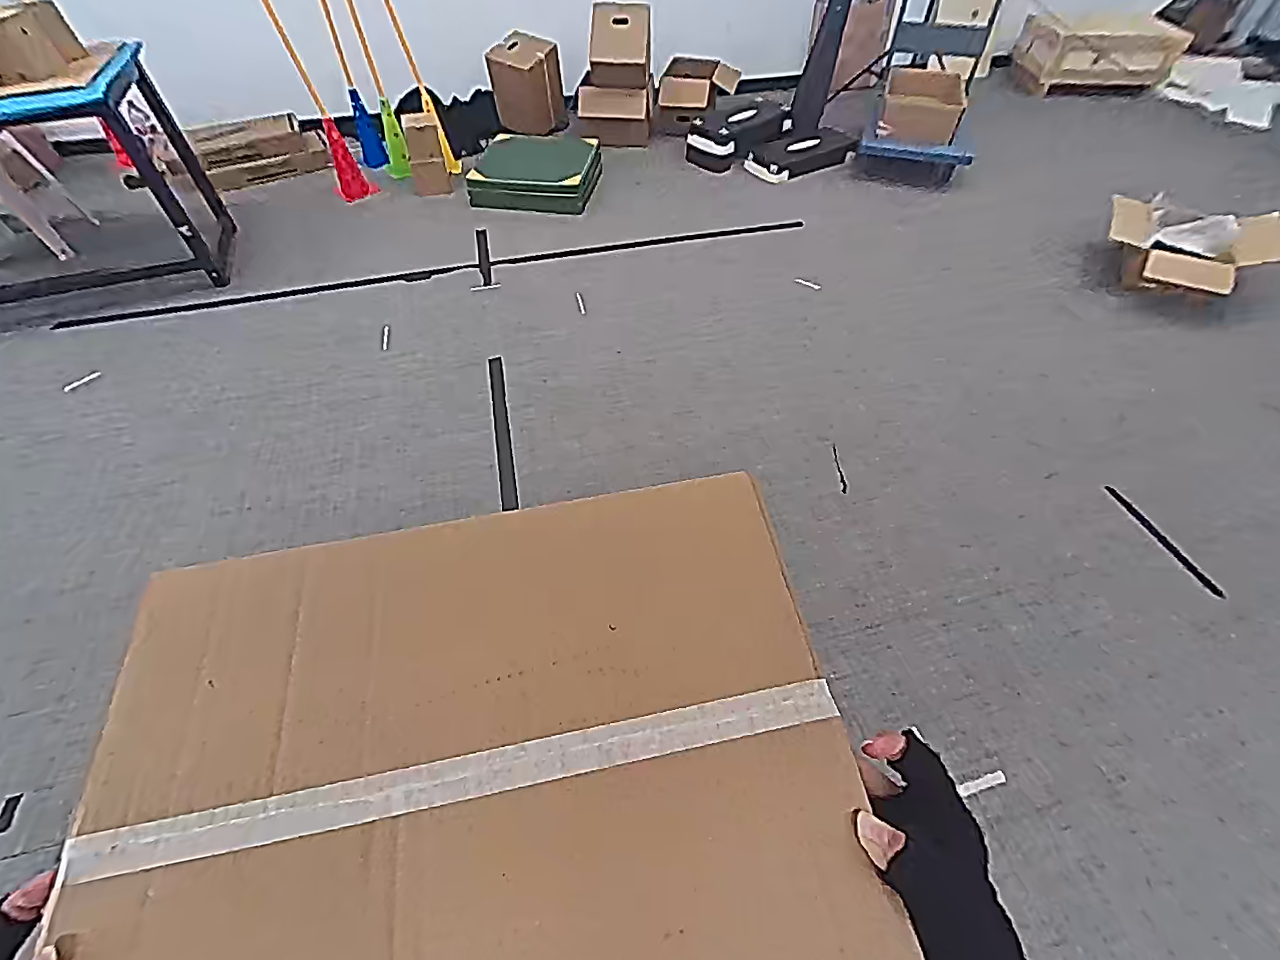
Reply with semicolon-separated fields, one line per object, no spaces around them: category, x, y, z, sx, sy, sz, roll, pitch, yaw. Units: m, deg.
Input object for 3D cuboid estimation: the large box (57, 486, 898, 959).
large box;-0.090;0.241;0.429;0.408;0.320;0.320;-10;58;-5
